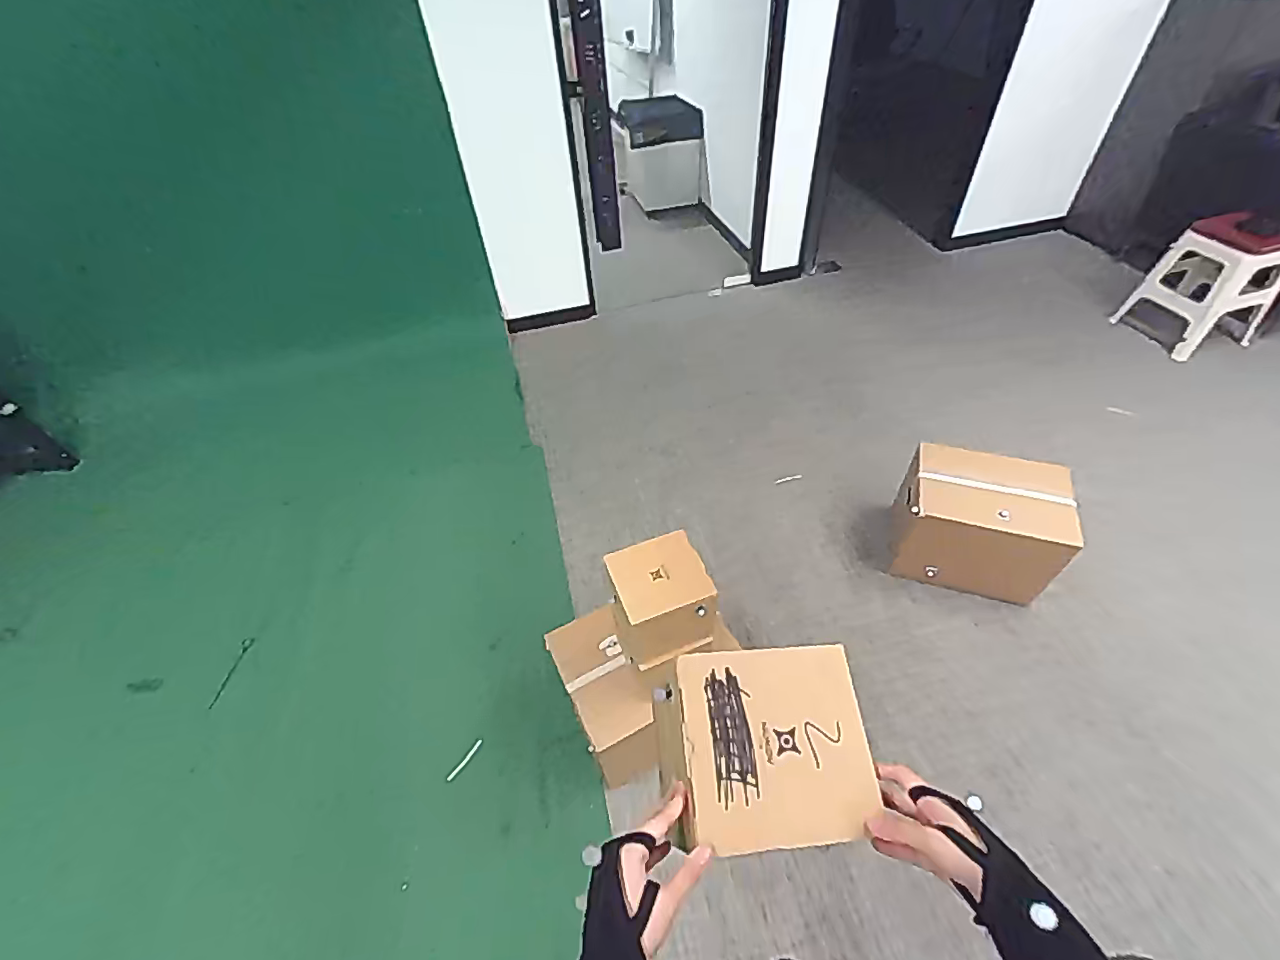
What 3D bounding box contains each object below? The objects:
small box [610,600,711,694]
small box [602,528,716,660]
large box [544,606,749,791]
[{"bbox_3d":[0.044,0.348,1.194,0.168,0.176,0.179,-18,48,-14],"label":"small box"},{"bbox_3d":[0.038,0.231,1.082,0.179,0.176,0.168,-17,48,-13],"label":"small box"},{"bbox_3d":[0.019,0.508,1.385,0.408,0.320,0.320,-24,48,-16],"label":"large box"}]
